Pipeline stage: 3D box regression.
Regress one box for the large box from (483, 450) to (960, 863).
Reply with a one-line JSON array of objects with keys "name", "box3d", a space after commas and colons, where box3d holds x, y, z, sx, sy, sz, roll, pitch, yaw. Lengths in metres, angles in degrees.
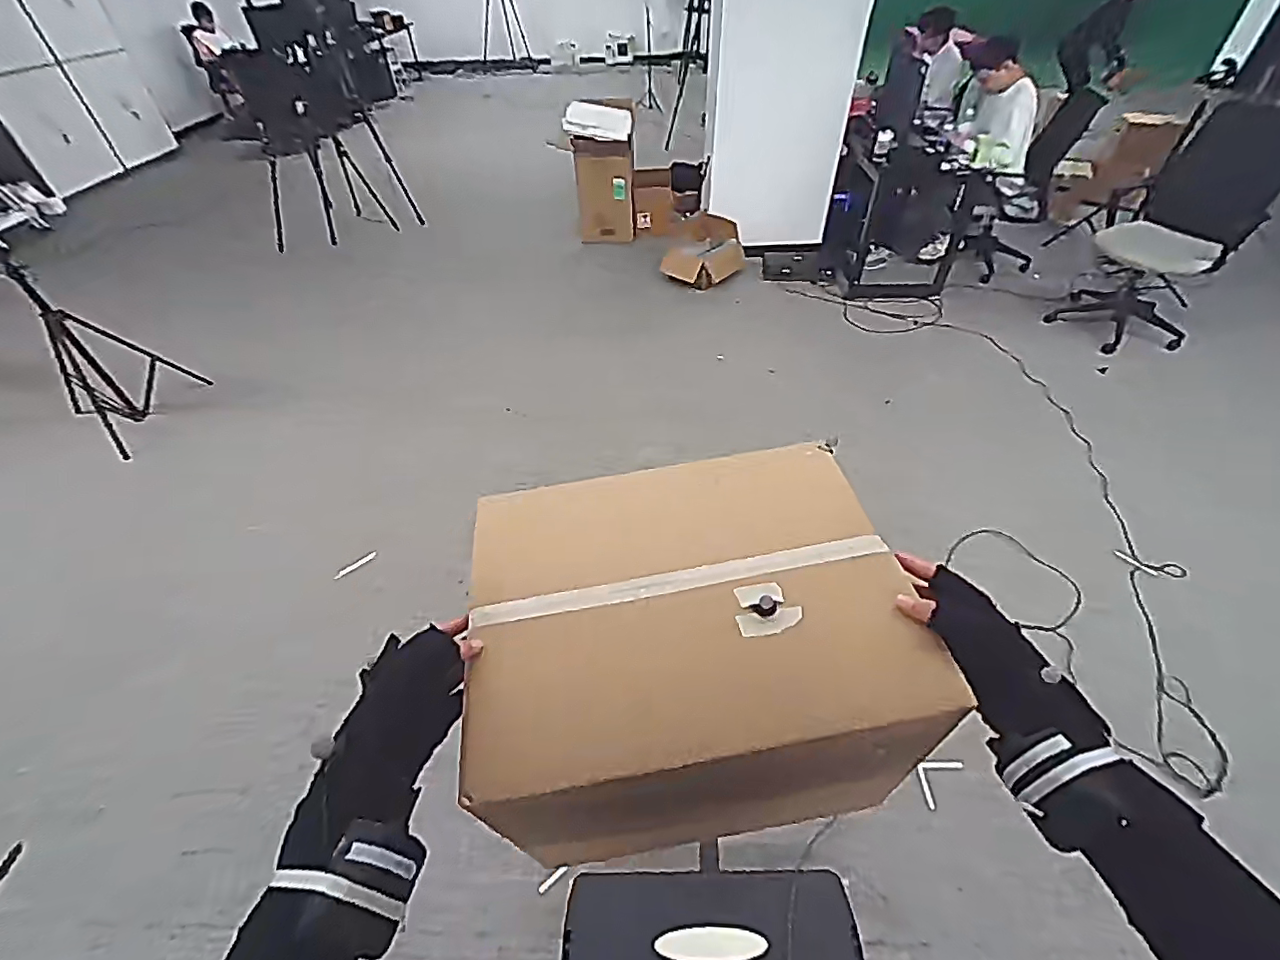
[{"name": "large box", "box3d": [0.056, 0.206, 0.638, 0.408, 0.320, 0.320, -9, 47, -3]}]
